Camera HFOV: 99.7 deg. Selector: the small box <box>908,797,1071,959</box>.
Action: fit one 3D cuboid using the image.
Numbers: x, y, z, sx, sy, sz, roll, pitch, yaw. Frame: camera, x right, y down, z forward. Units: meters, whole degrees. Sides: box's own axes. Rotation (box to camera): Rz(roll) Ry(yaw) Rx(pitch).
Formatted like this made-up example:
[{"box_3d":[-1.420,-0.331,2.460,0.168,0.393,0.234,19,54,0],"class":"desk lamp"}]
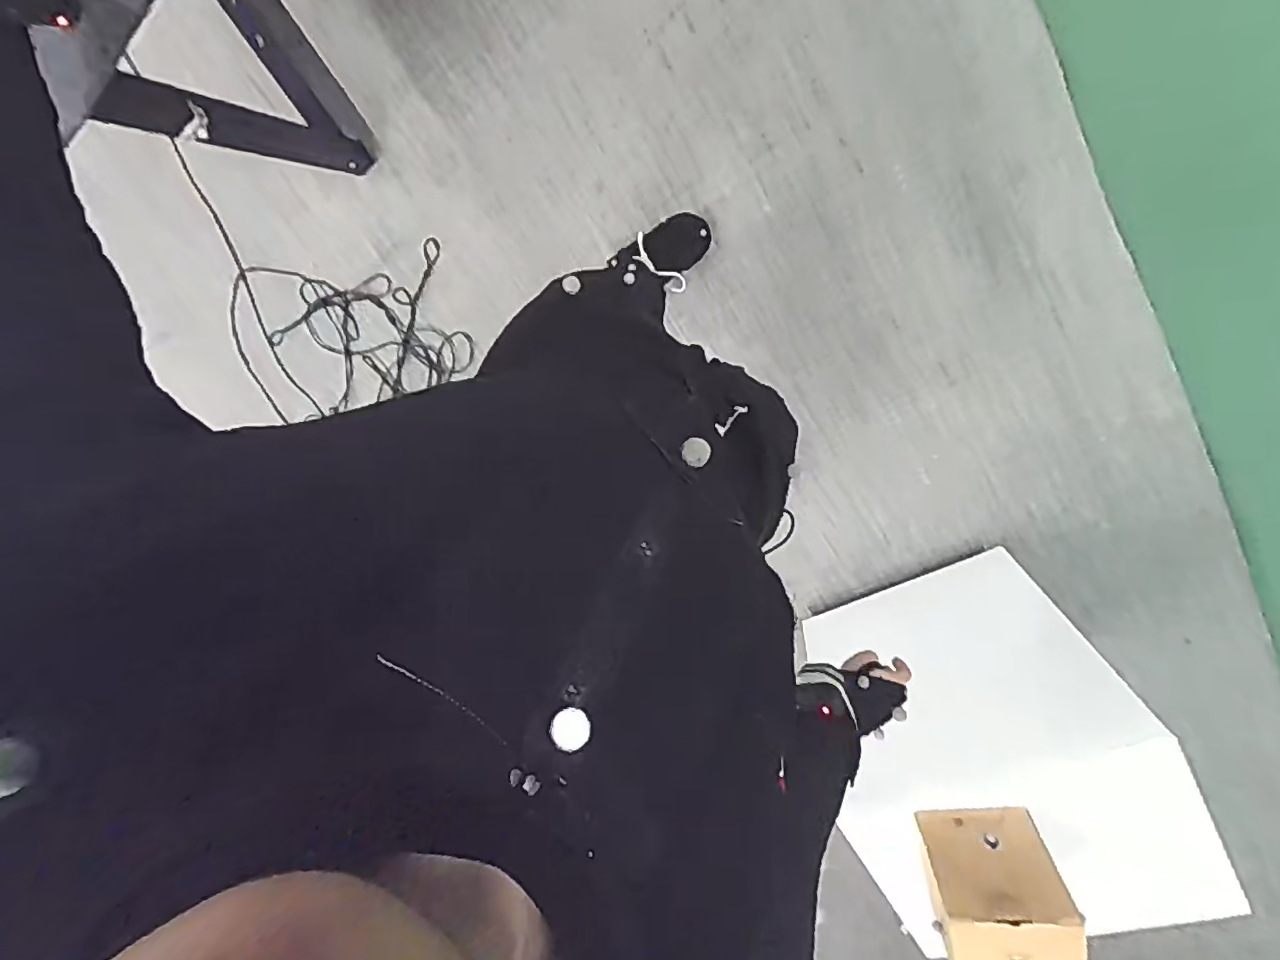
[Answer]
[{"box_3d":[0.534,0.630,0.844,0.168,0.176,0.179,-12,110,15],"class":"small box"}]
